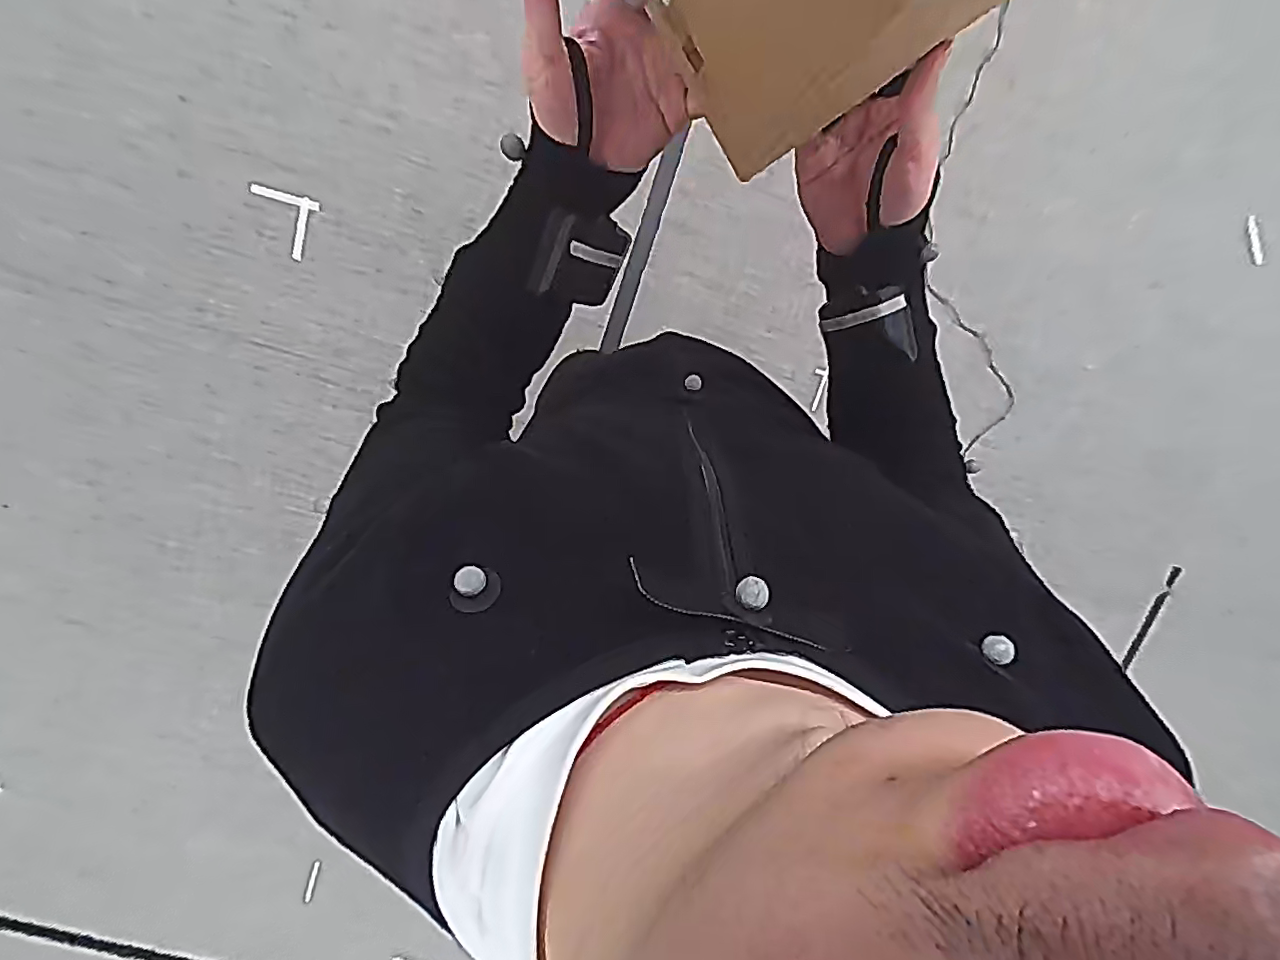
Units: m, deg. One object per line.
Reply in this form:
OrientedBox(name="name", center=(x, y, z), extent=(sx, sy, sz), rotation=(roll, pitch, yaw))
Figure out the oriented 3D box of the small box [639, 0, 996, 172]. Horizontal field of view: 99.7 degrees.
OrientedBox(name="small box", center=(0.094, -0.269, 0.214), extent=(0.179, 0.176, 0.168), rotation=(-36, 102, 1))
